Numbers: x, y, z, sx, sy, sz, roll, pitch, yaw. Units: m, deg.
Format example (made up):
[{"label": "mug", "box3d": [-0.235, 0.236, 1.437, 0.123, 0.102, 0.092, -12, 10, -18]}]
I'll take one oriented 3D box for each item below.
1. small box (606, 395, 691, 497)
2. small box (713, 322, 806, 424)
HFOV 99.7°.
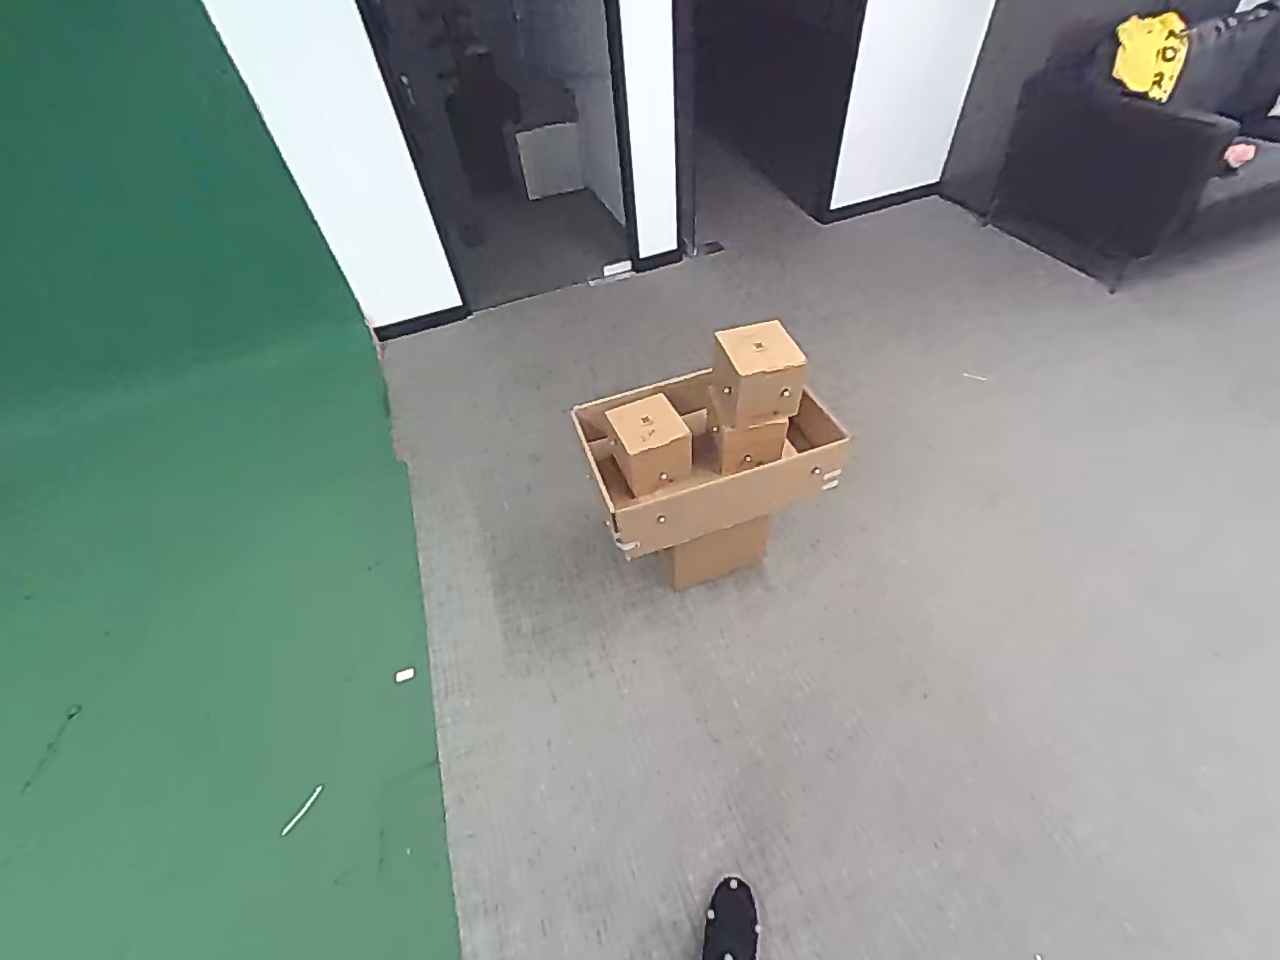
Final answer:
[{"label": "small box", "box3d": [0.020, -0.088, 1.404, 0.168, 0.176, 0.179, -20, 51, -12]}, {"label": "small box", "box3d": [0.282, -0.252, 1.312, 0.168, 0.176, 0.179, -12, 49, -7]}]
